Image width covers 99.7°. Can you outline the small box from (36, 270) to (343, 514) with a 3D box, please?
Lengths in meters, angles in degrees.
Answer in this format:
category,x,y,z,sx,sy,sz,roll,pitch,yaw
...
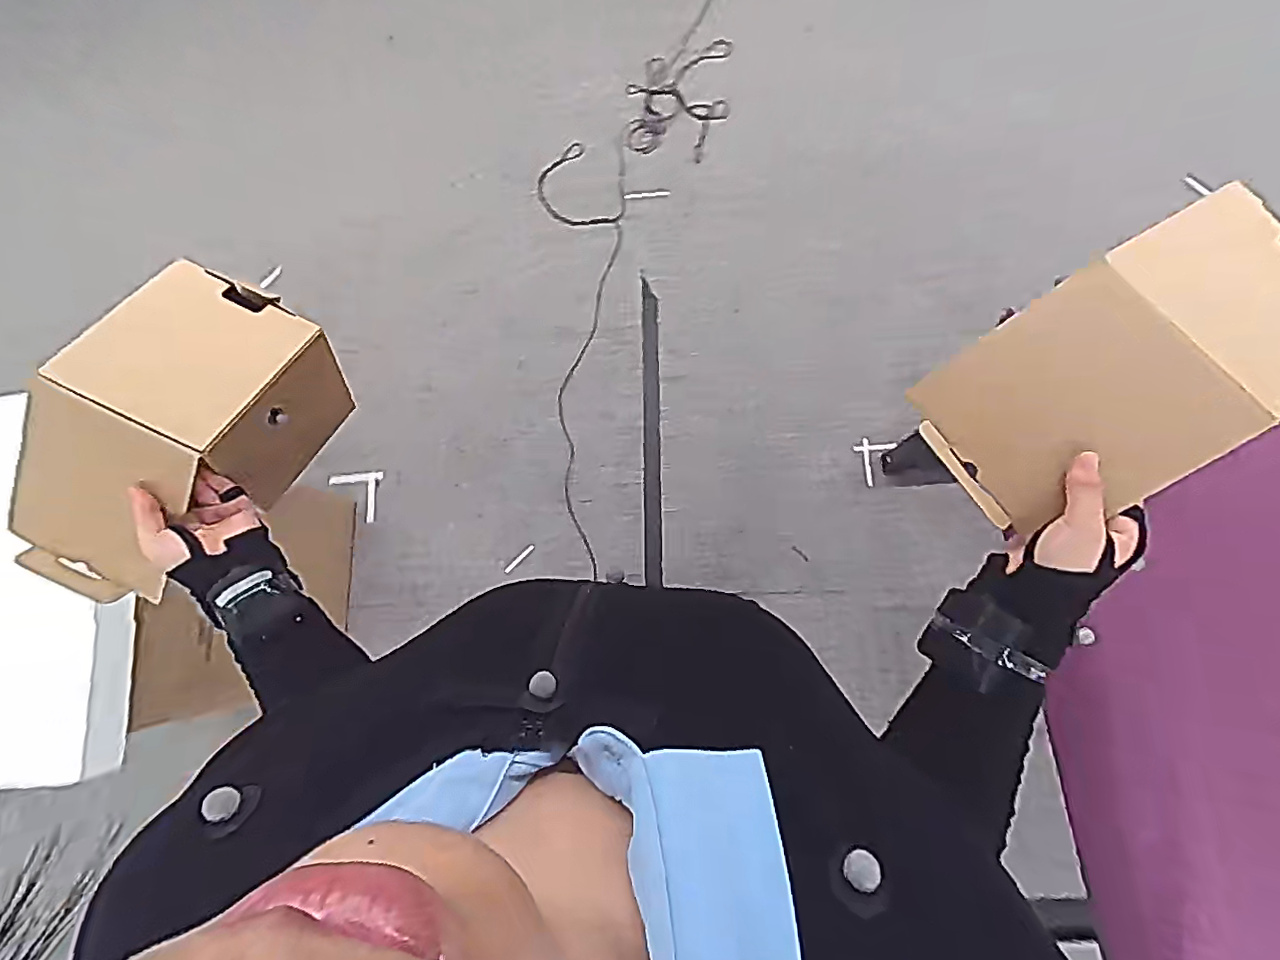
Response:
category,x,y,z,sx,sy,sz,roll,pitch,yaw
small box,-0.469,-0.087,0.606,0.168,0.176,0.179,26,60,-3
